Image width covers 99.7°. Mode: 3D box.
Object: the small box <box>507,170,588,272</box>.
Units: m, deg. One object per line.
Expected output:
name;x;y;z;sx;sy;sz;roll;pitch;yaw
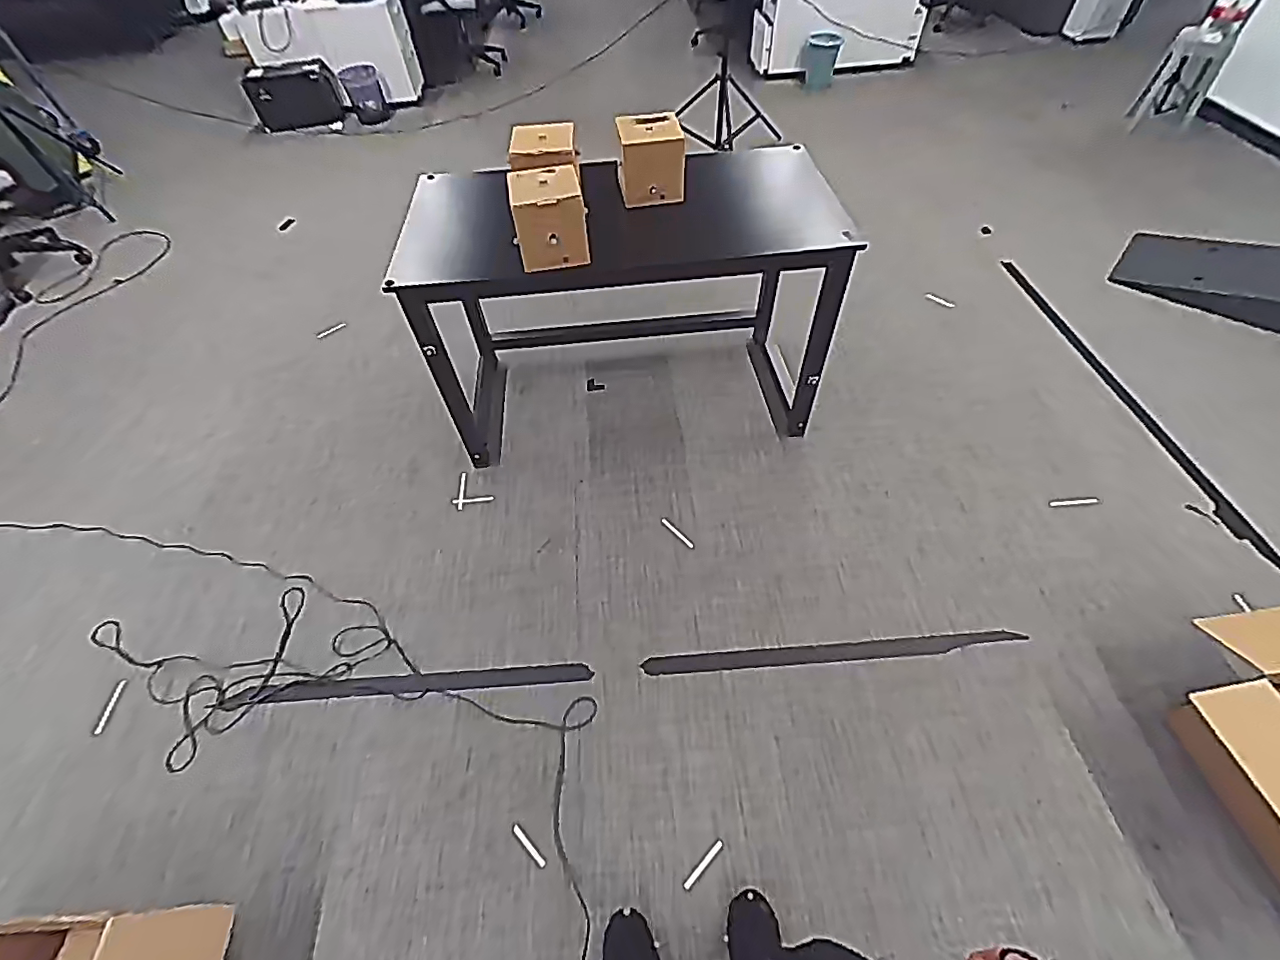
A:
small box;-0.227;-0.634;1.340;0.168;0.176;0.179;-10;53;-5

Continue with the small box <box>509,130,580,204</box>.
small box;-0.260;-0.846;1.506;0.168;0.176;0.179;-5;53;0
